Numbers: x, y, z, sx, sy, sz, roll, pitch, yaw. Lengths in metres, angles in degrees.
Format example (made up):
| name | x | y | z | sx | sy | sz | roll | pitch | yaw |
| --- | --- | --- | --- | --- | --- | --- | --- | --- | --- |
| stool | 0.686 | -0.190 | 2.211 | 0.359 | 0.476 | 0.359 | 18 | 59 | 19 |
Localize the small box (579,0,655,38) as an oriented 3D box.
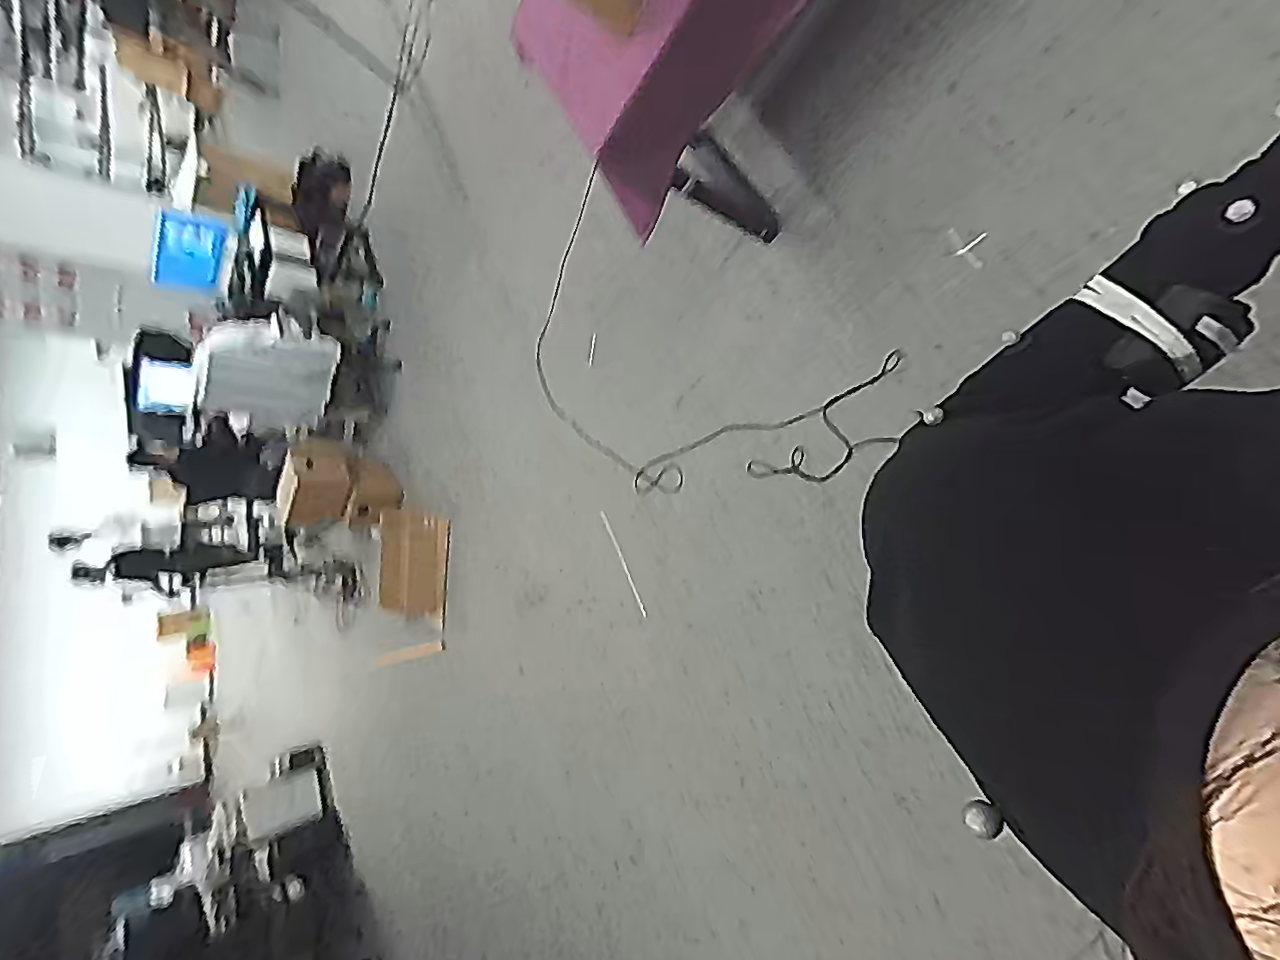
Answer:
| name | x | y | z | sx | sy | sz | roll | pitch | yaw |
| --- | --- | --- | --- | --- | --- | --- | --- | --- | --- |
| small box | -0.062 | -1.043 | 1.076 | 0.168 | 0.176 | 0.179 | -41 | 63 | 36 |
